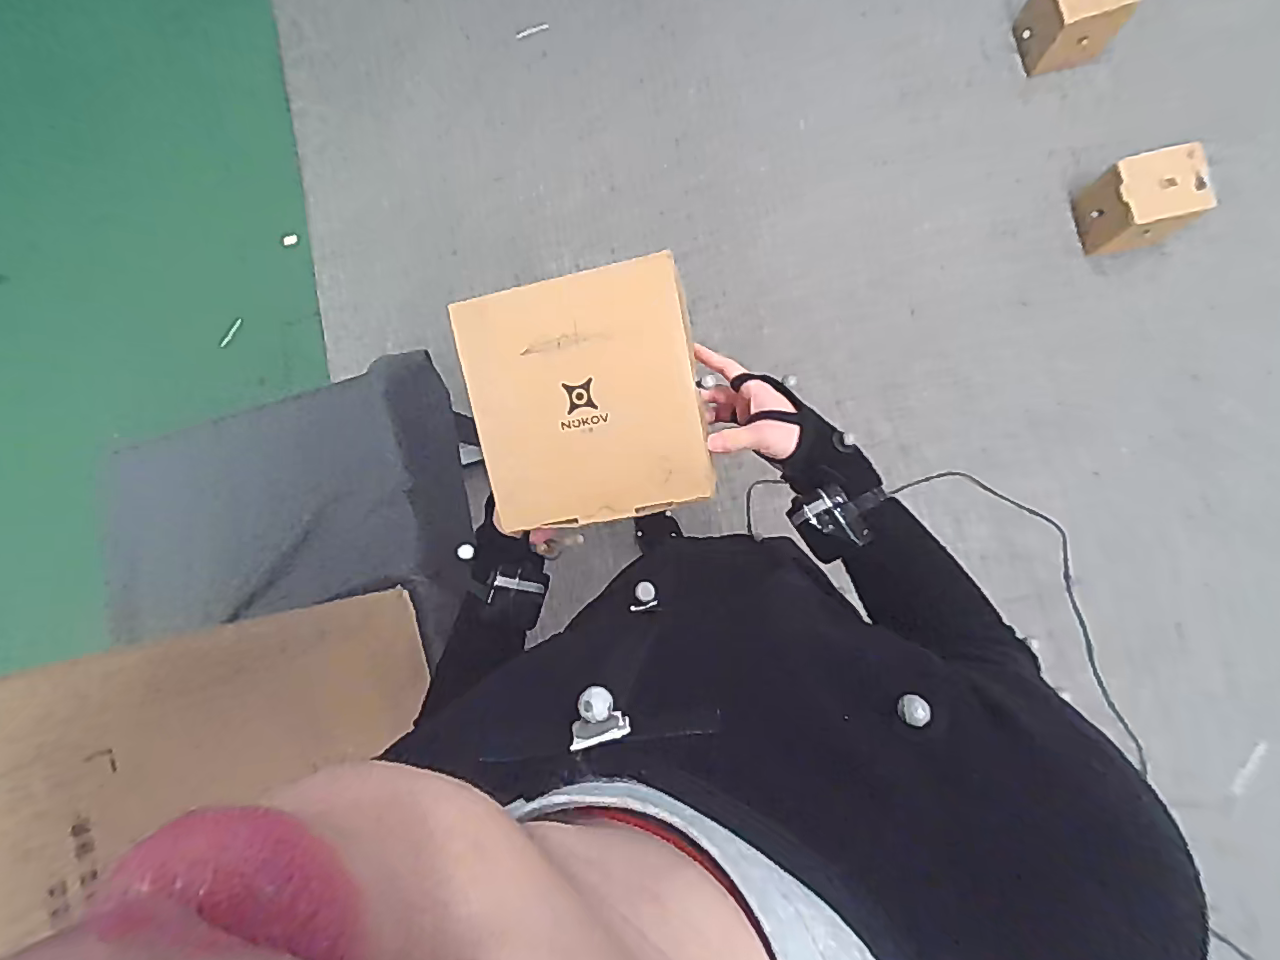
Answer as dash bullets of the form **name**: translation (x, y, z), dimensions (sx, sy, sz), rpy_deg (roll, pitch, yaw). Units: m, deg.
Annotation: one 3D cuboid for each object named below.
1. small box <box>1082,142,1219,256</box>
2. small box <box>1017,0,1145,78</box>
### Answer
- **small box**: translation (1.232, -0.678, 1.326), dimensions (0.179, 0.176, 0.168), rpy_deg (-10, 85, 10)
- **small box**: translation (1.112, -1.185, 1.377), dimensions (0.179, 0.176, 0.168), rpy_deg (-13, 84, 10)
